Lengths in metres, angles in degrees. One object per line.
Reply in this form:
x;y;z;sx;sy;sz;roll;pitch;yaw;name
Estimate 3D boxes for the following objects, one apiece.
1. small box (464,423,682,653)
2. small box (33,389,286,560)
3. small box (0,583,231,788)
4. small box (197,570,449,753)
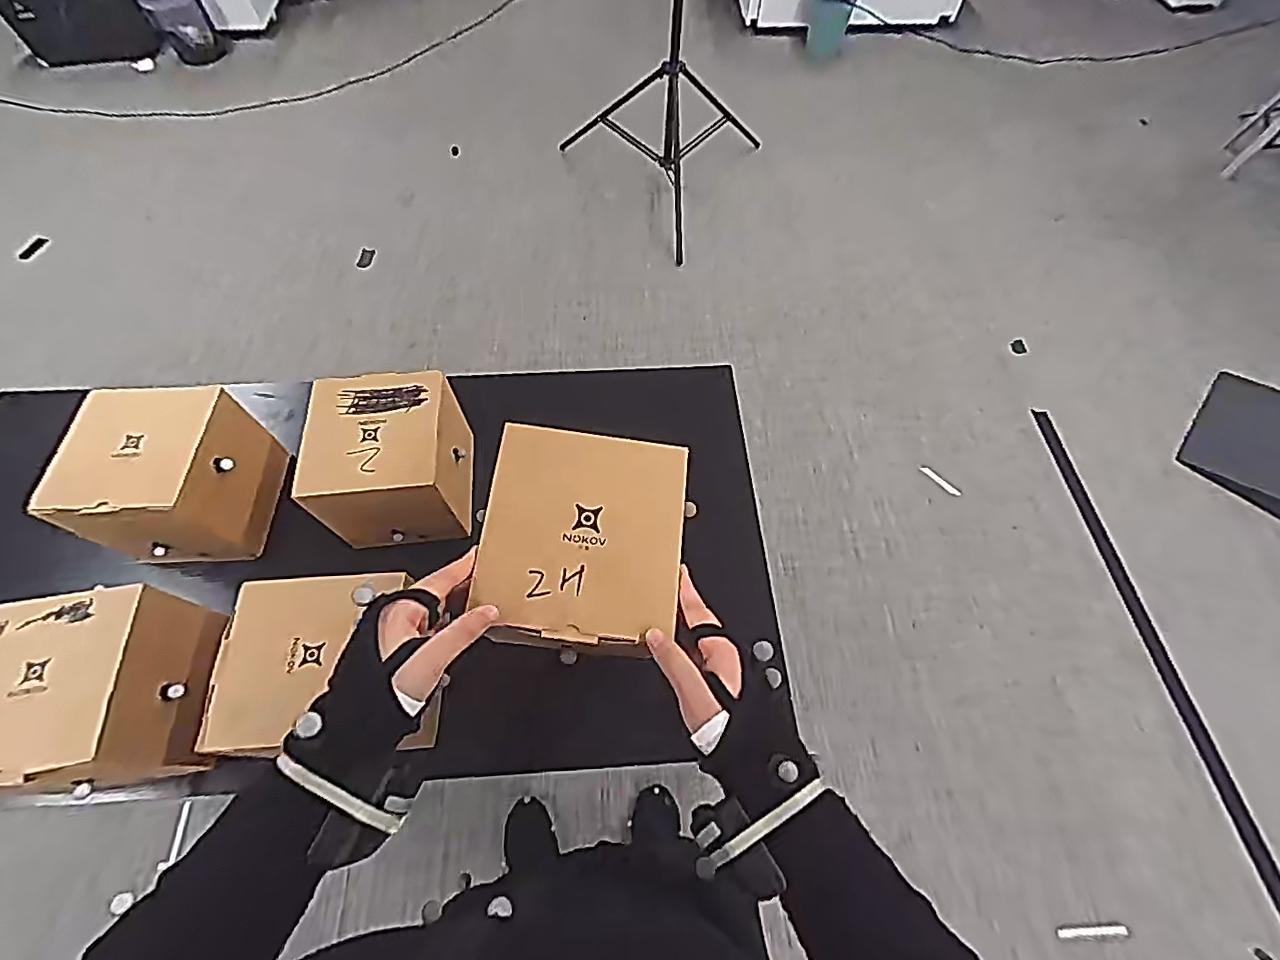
-0.059;0.067;0.530;0.168;0.176;0.179;7;69;-4;small box
-0.619;-0.003;0.730;0.168;0.176;0.179;-2;62;-2;small box
-0.592;0.233;0.600;0.168;0.176;0.179;-8;62;-5;small box
-0.336;0.212;0.617;0.179;0.176;0.168;-3;62;-4;small box
